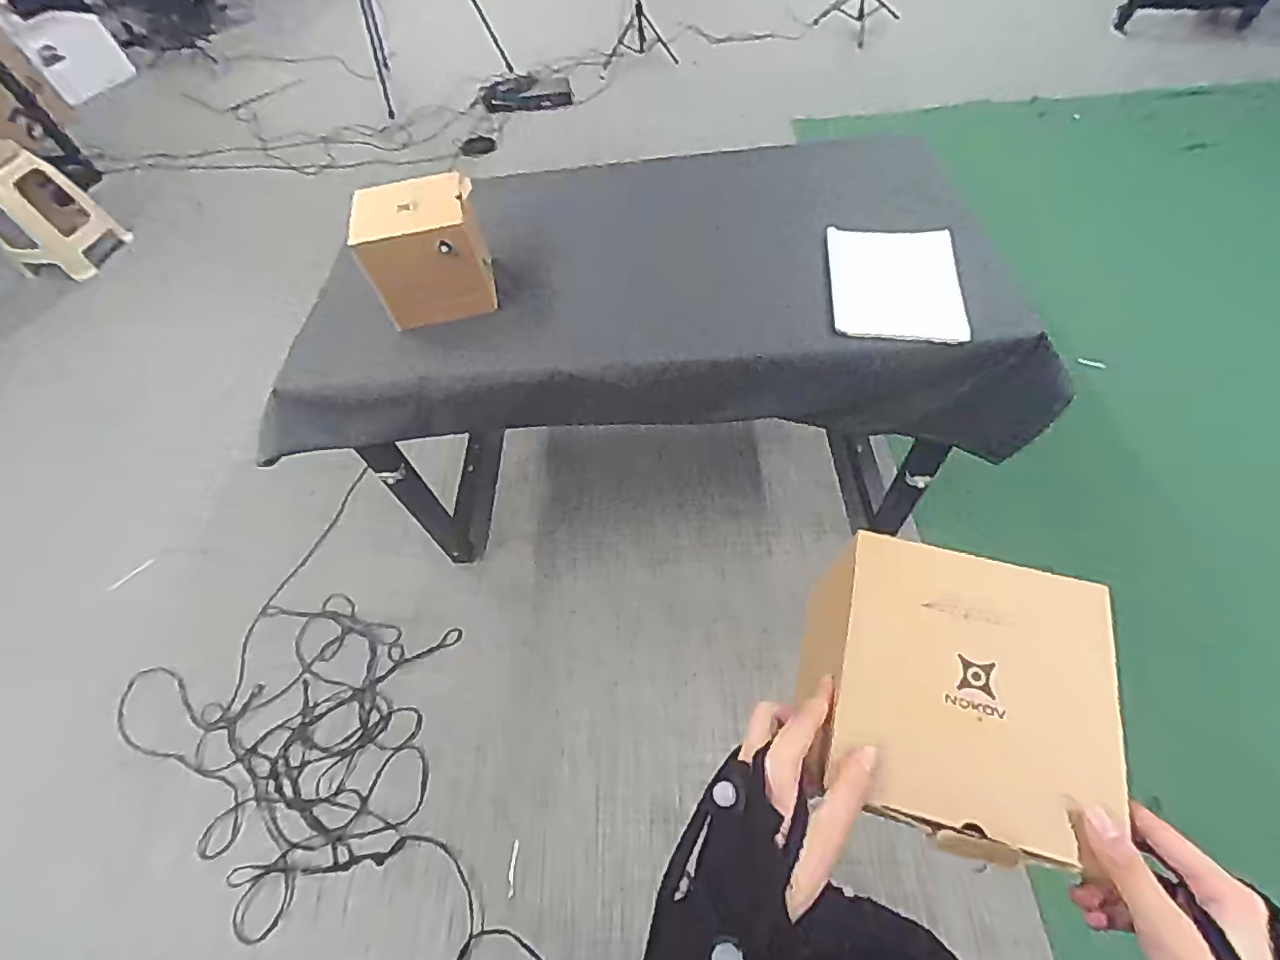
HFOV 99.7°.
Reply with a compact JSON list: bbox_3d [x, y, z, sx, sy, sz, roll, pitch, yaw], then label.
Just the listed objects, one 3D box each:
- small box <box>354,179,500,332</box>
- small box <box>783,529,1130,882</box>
[{"bbox_3d":[-0.352,-0.375,0.919,0.179,0.176,0.168,-13,55,-4],"label":"small box"},{"bbox_3d":[0.213,0.164,0.412,0.168,0.176,0.179,13,63,10],"label":"small box"}]
